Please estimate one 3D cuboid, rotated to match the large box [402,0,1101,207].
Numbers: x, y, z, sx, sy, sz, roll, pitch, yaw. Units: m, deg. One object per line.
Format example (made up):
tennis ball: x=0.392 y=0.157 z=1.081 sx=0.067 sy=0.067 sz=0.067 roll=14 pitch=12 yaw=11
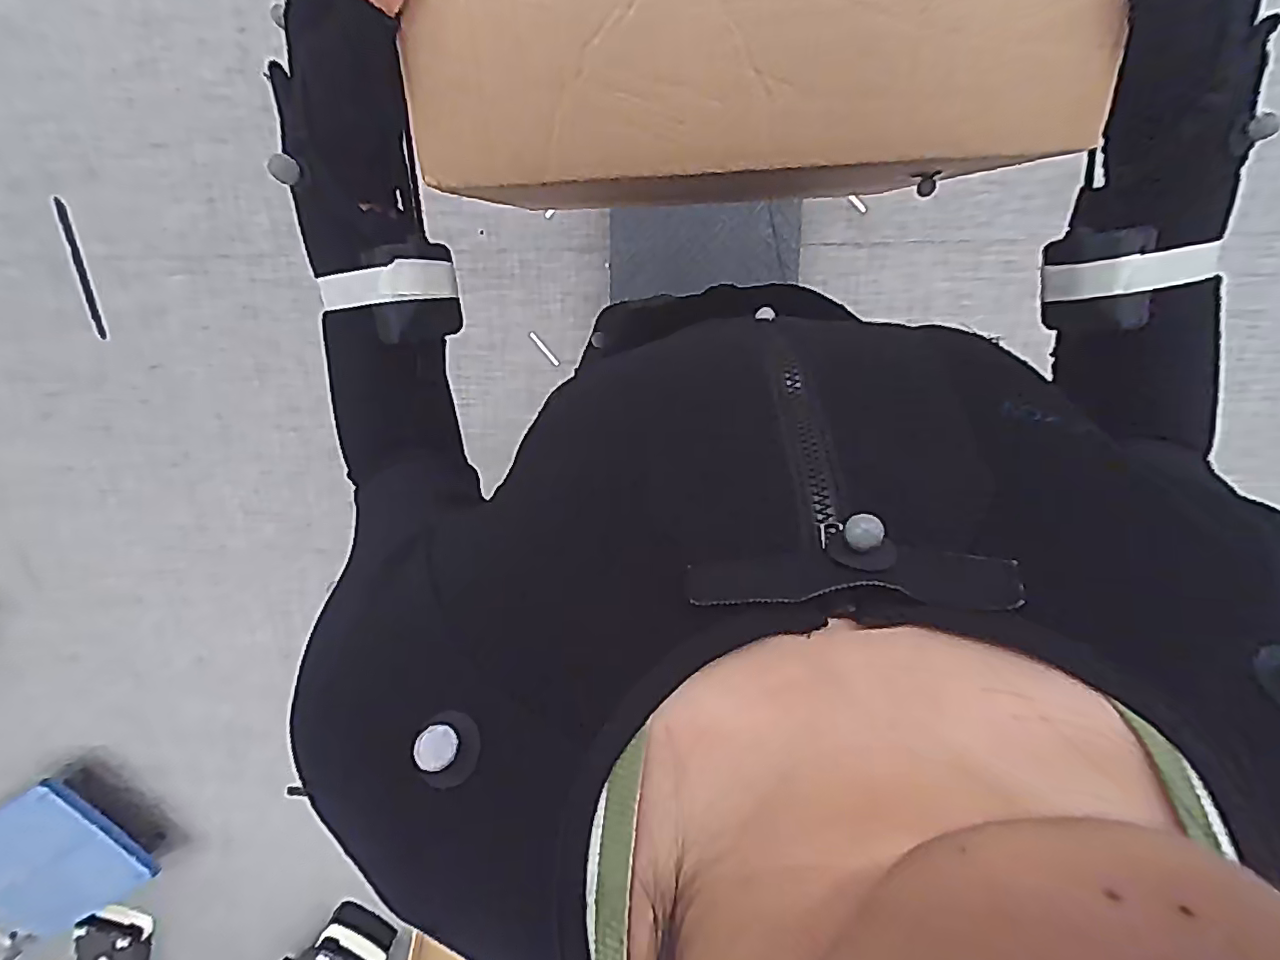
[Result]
large box: x=0.062 y=-0.397 z=0.414 sx=0.408 sy=0.320 sz=0.320 roll=-2 pitch=114 yaw=2
